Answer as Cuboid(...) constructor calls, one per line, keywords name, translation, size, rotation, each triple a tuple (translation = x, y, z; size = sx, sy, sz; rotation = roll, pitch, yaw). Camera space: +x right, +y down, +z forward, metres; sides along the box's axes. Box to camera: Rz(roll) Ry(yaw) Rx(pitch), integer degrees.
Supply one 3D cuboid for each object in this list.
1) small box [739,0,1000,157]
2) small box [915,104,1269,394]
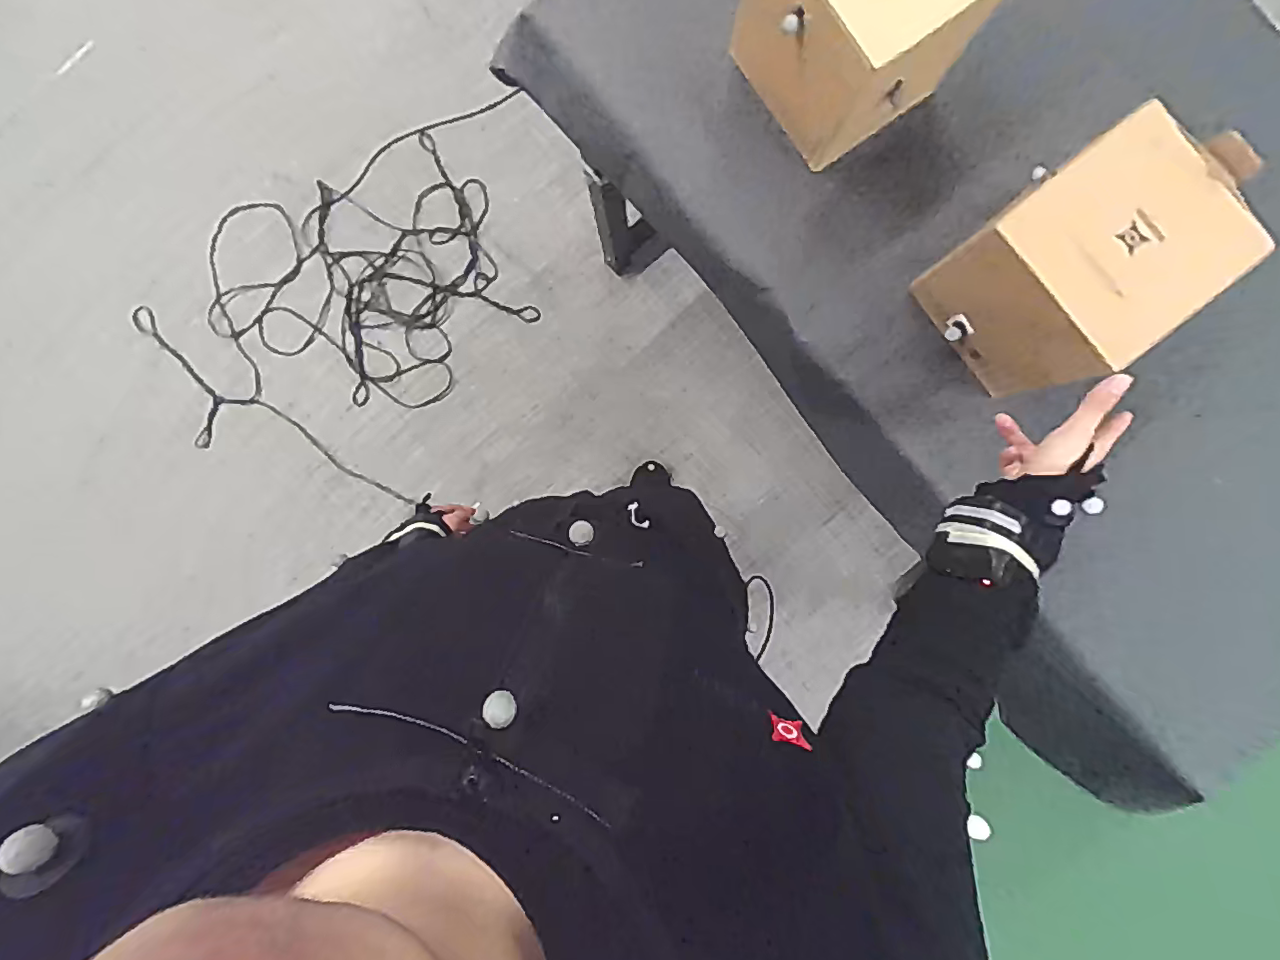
Cuboid(name="small box", translation=(0.222, -0.466, 0.542), size=(0.168, 0.176, 0.179), rotation=(-35, 90, 0))
Cuboid(name="small box", translation=(0.425, -0.210, 0.544), size=(0.179, 0.176, 0.168), rotation=(-40, 89, 1))
